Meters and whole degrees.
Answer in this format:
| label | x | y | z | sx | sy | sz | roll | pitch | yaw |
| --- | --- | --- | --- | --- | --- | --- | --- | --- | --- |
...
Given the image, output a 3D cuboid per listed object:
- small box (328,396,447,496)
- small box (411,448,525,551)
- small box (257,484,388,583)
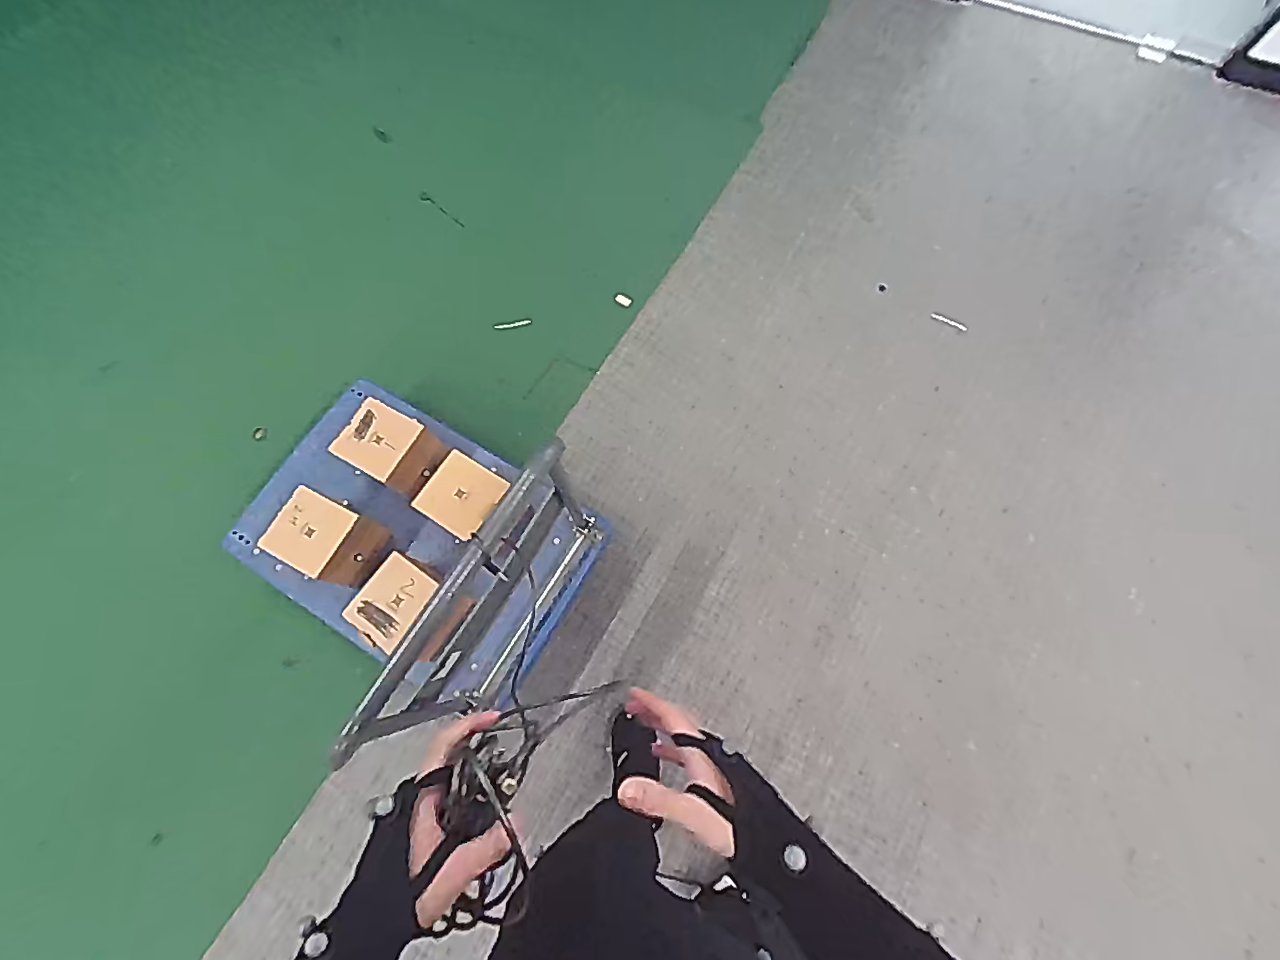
| label | x | y | z | sx | sy | sz | roll | pitch | yaw |
| --- | --- | --- | --- | --- | --- | --- | --- | --- | --- |
| small box | -0.631 | -0.078 | 1.371 | 0.179 | 0.176 | 0.168 | 28 | 76 | 10 |
| small box | -0.409 | 0.055 | 1.317 | 0.179 | 0.176 | 0.168 | 30 | 76 | 11 |
| small box | -0.754 | 0.137 | 1.307 | 0.179 | 0.176 | 0.168 | 26 | 74 | 11 |
